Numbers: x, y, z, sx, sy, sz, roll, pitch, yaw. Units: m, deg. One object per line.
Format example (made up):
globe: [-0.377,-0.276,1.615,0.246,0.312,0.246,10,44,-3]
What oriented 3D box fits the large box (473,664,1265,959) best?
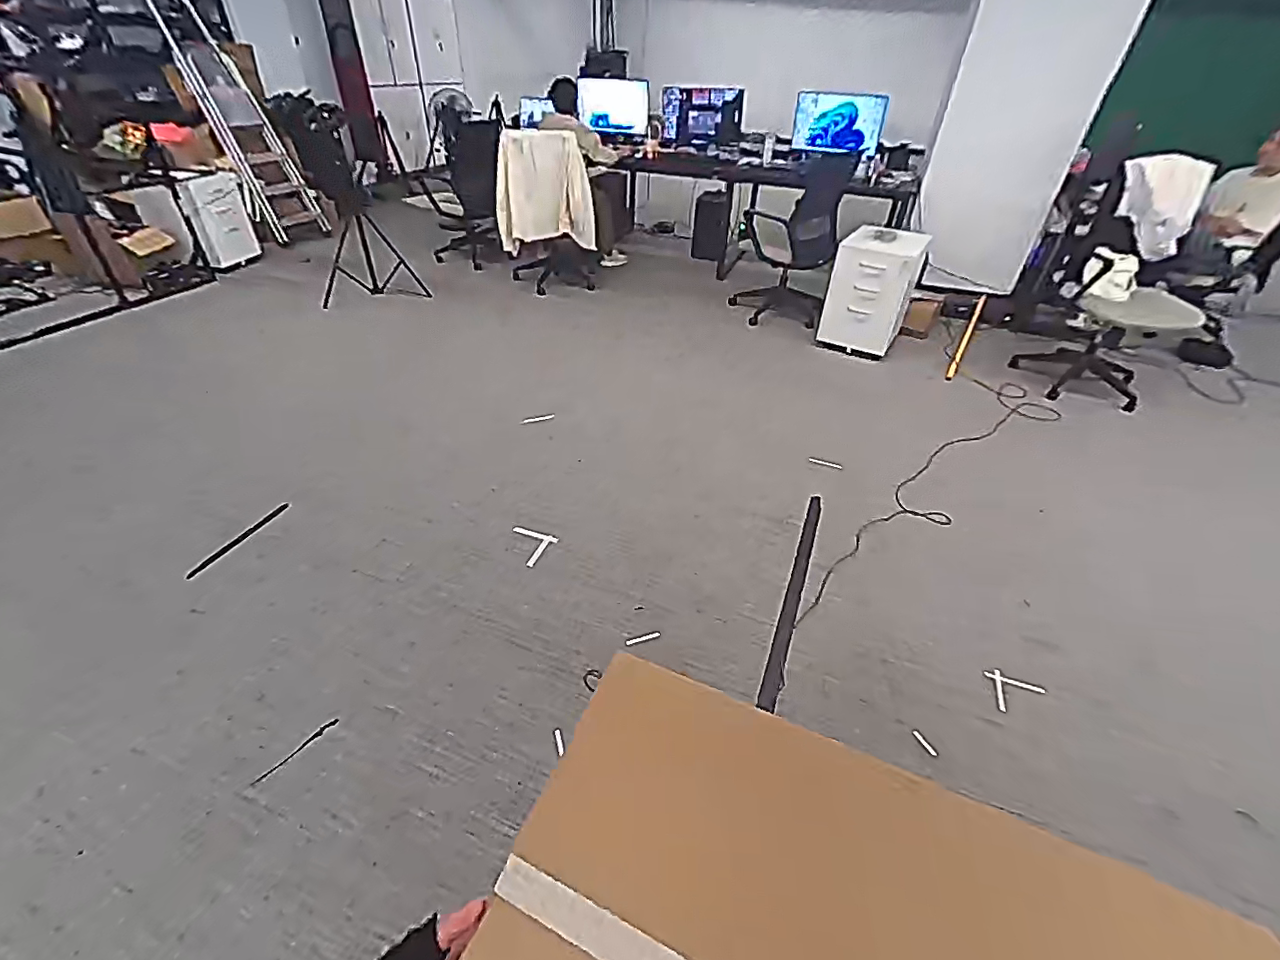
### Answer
large box: [0.110,0.400,0.389,0.408,0.320,0.320,17,54,20]
